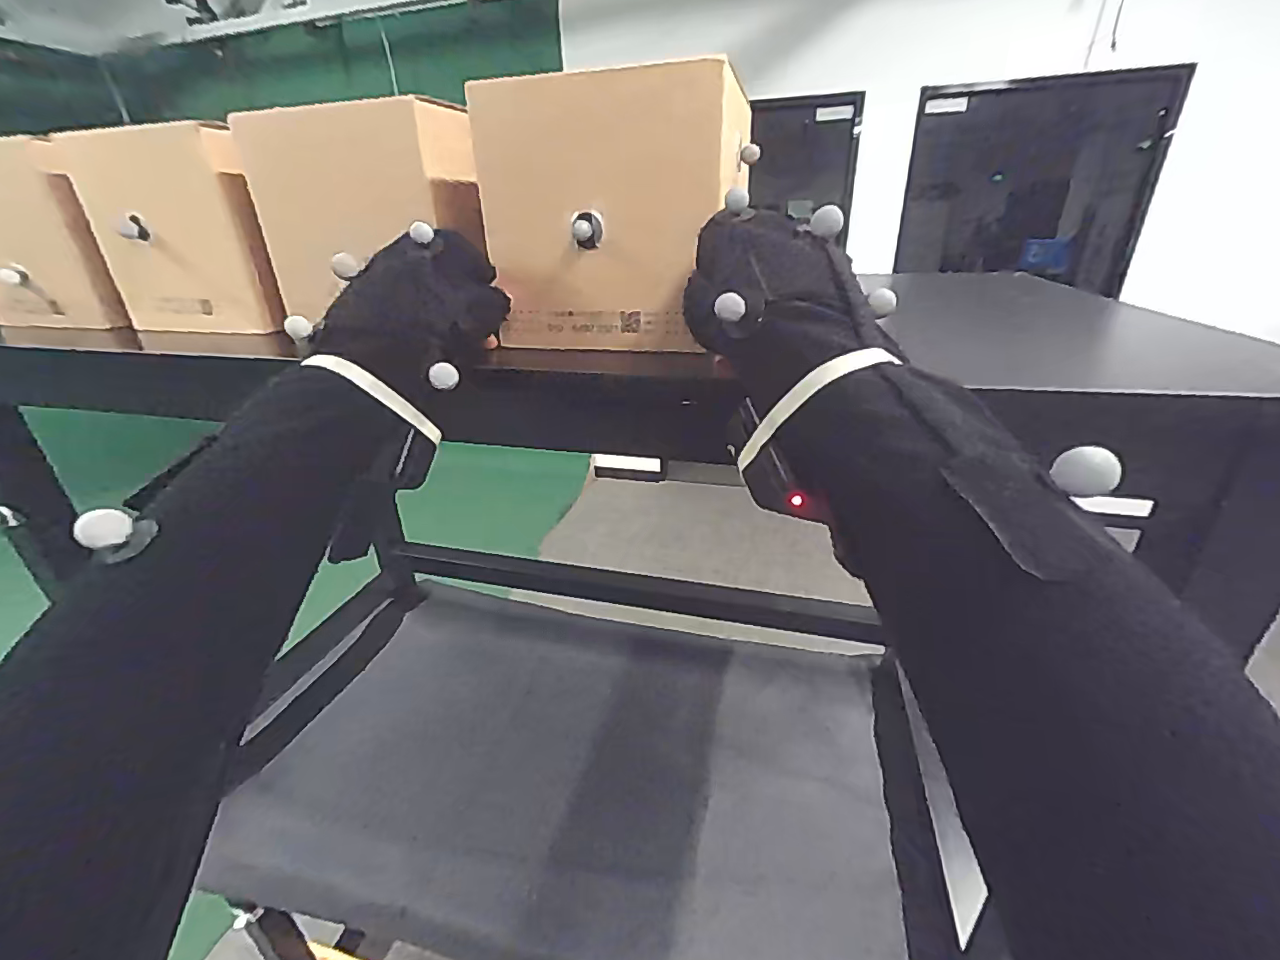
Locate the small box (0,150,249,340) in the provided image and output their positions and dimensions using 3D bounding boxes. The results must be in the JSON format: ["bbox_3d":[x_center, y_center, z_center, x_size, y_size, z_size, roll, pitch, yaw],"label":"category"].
[{"bbox_3d":[-0.584,-0.261,0.606,0.168,0.176,0.179,5,28,14],"label":"small box"}]

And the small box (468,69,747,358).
[{"bbox_3d":[-0.008,-0.199,0.430,0.168,0.176,0.179,6,27,13],"label":"small box"}]
